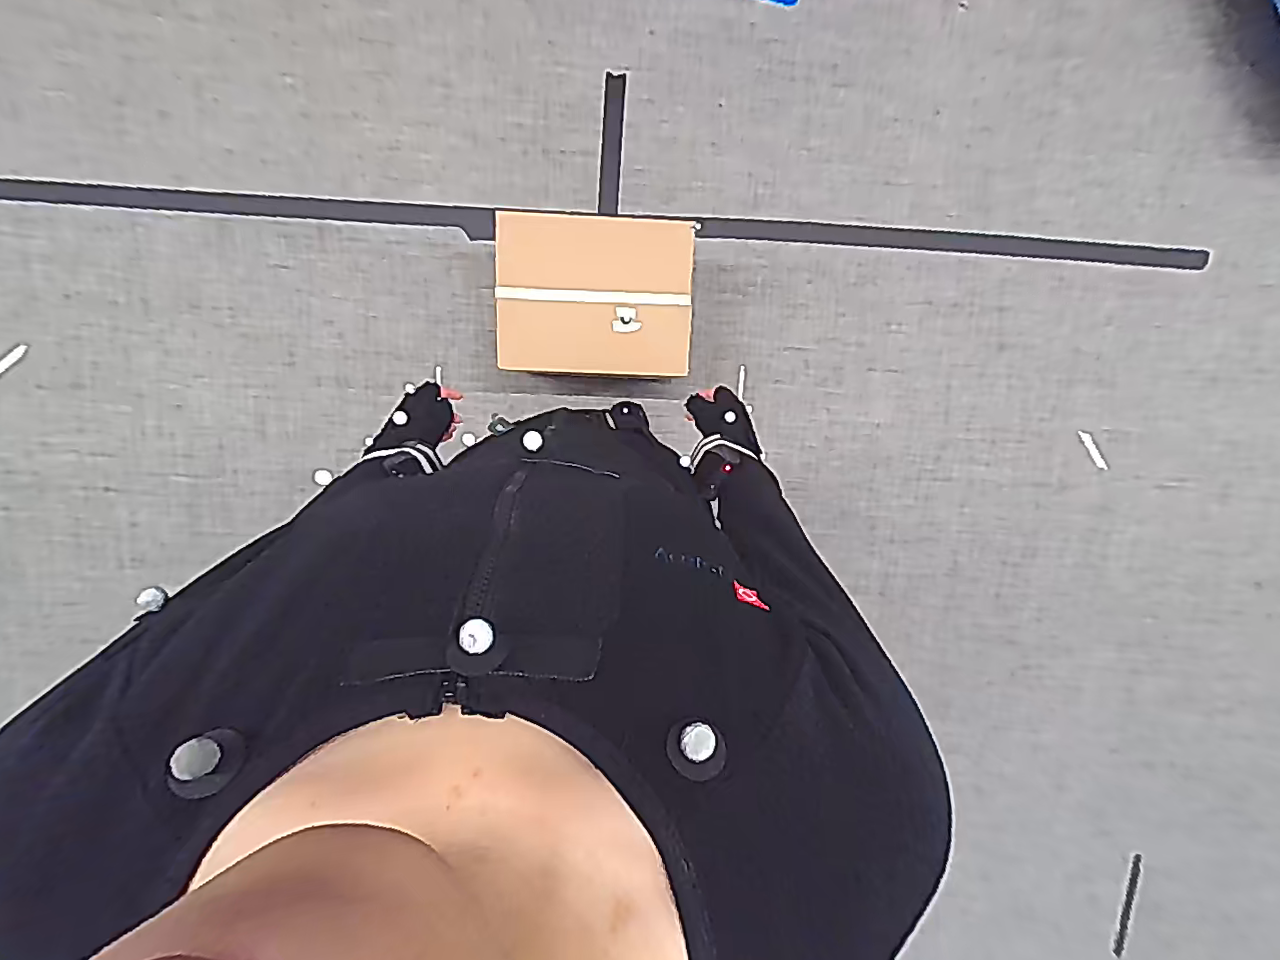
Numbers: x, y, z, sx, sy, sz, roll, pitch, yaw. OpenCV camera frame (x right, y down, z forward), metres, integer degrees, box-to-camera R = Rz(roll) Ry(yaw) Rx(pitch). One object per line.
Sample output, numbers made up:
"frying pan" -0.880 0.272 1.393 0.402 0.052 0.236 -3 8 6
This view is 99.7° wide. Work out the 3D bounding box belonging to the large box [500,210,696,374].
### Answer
"large box" -0.096 -0.411 1.263 0.408 0.320 0.320 1 100 -4
